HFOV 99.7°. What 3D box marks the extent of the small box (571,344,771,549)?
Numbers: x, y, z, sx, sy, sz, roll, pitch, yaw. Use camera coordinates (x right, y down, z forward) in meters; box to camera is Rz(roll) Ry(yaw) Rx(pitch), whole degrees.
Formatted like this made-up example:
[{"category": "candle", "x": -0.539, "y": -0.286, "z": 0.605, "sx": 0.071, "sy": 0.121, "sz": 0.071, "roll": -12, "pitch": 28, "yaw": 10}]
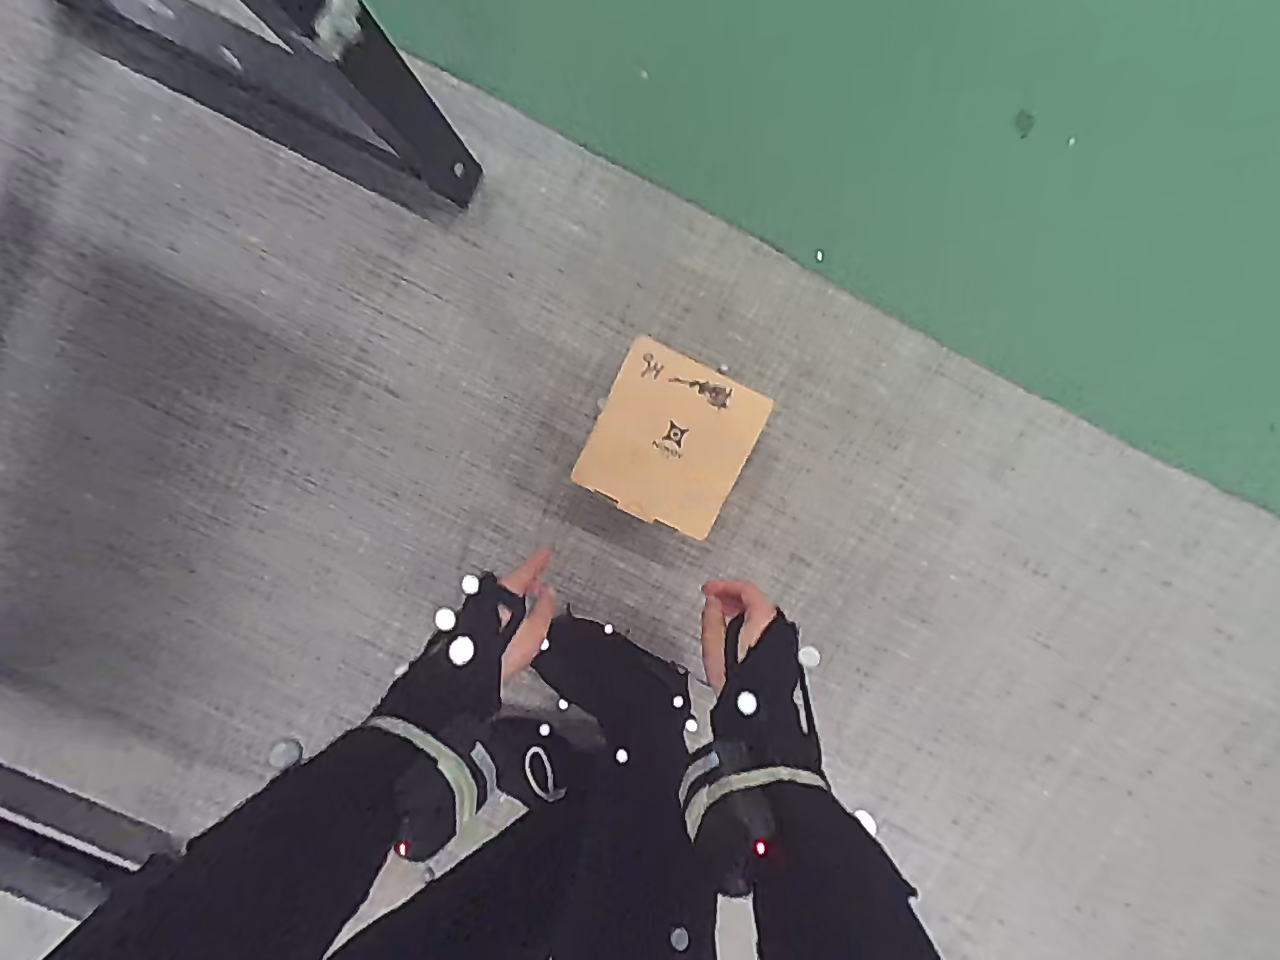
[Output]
[{"category": "small box", "x": 0.036, "y": -0.043, "z": 0.665, "sx": 0.168, "sy": 0.176, "sz": 0.179, "roll": 26, "pitch": 96, "yaw": -2}]
